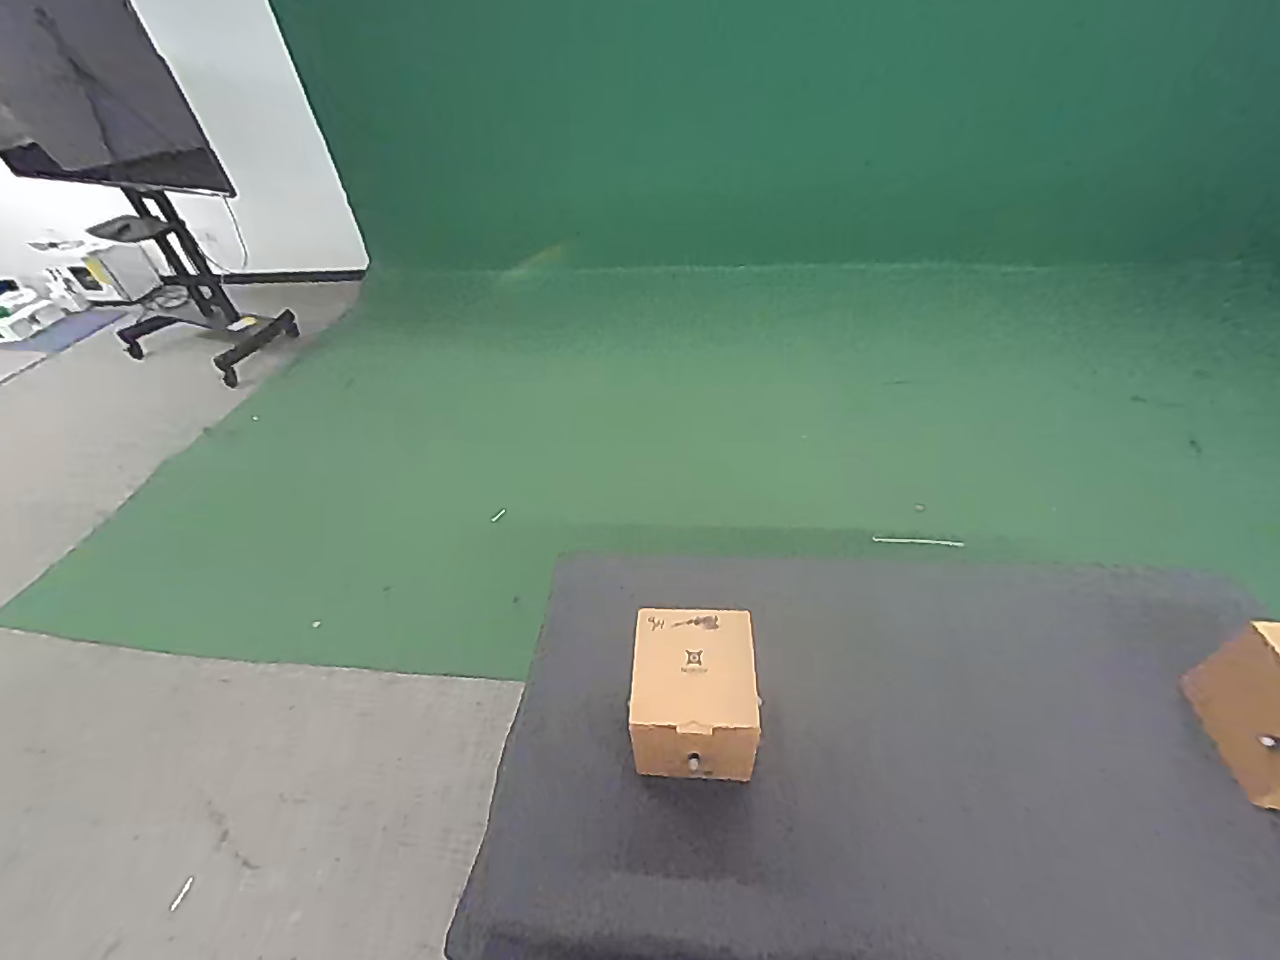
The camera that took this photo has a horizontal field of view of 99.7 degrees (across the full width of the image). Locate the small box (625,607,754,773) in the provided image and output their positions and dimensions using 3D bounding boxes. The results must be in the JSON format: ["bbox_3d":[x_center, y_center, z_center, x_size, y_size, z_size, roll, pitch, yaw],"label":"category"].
[{"bbox_3d":[0.074,0.306,0.786,0.168,0.176,0.179,0,43,5],"label":"small box"}]

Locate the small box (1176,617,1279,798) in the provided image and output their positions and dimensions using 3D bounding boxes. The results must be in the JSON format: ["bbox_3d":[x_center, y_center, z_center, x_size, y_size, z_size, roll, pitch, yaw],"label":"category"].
[{"bbox_3d":[0.877,0.305,0.702,0.168,0.176,0.179,3,42,8],"label":"small box"}]
